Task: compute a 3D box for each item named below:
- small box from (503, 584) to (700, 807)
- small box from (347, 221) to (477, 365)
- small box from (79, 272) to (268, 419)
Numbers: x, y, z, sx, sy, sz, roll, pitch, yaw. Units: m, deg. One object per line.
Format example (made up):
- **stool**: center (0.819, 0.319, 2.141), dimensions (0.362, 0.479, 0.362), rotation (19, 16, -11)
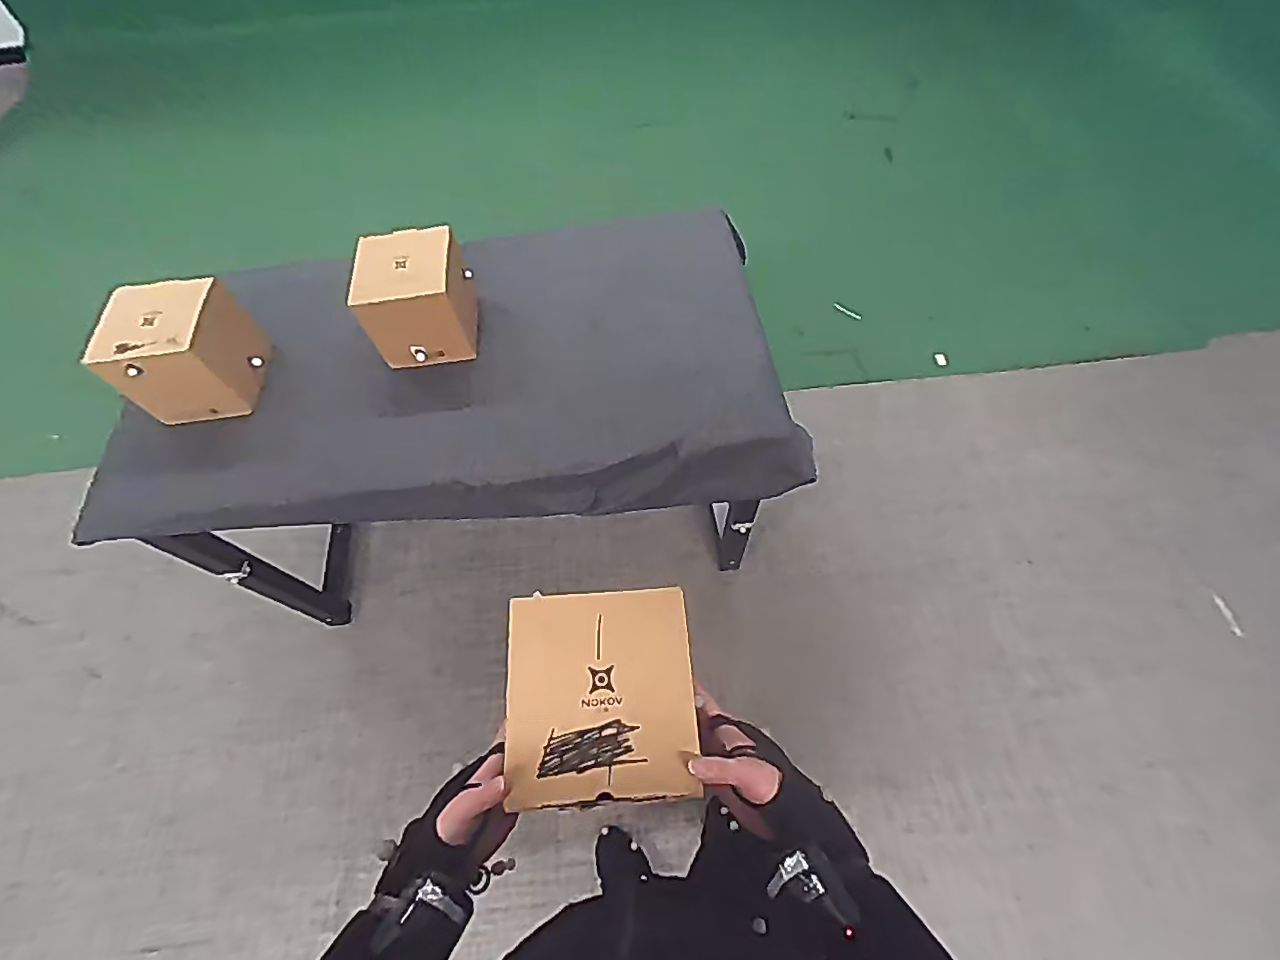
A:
- **small box**: center (-0.037, 0.215, 0.547), dimensions (0.168, 0.176, 0.179), rotation (-3, 64, -3)
- **small box**: center (-0.407, -0.339, 0.996), dimensions (0.168, 0.176, 0.179), rotation (-9, 63, -1)
- **small box**: center (-0.799, -0.233, 0.952), dimensions (0.168, 0.176, 0.179), rotation (-8, 61, -1)
